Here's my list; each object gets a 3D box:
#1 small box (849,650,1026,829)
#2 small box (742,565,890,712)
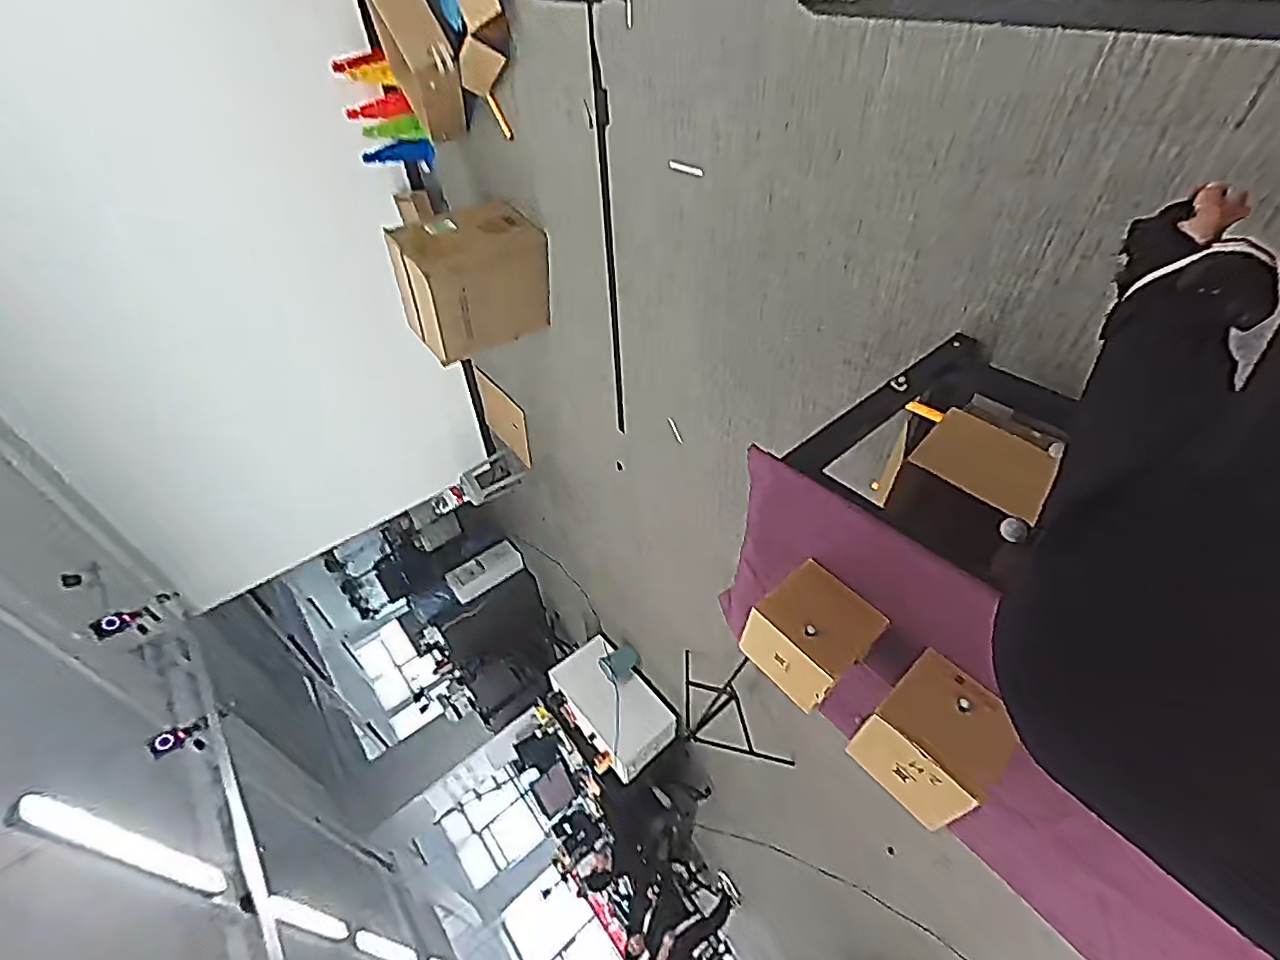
[{"bbox_3d":[0.475,0.413,0.873,0.168,0.176,0.179,39,147,31],"label":"small box"},{"bbox_3d":[0.320,0.282,1.002,0.179,0.176,0.168,41,149,30],"label":"small box"}]
